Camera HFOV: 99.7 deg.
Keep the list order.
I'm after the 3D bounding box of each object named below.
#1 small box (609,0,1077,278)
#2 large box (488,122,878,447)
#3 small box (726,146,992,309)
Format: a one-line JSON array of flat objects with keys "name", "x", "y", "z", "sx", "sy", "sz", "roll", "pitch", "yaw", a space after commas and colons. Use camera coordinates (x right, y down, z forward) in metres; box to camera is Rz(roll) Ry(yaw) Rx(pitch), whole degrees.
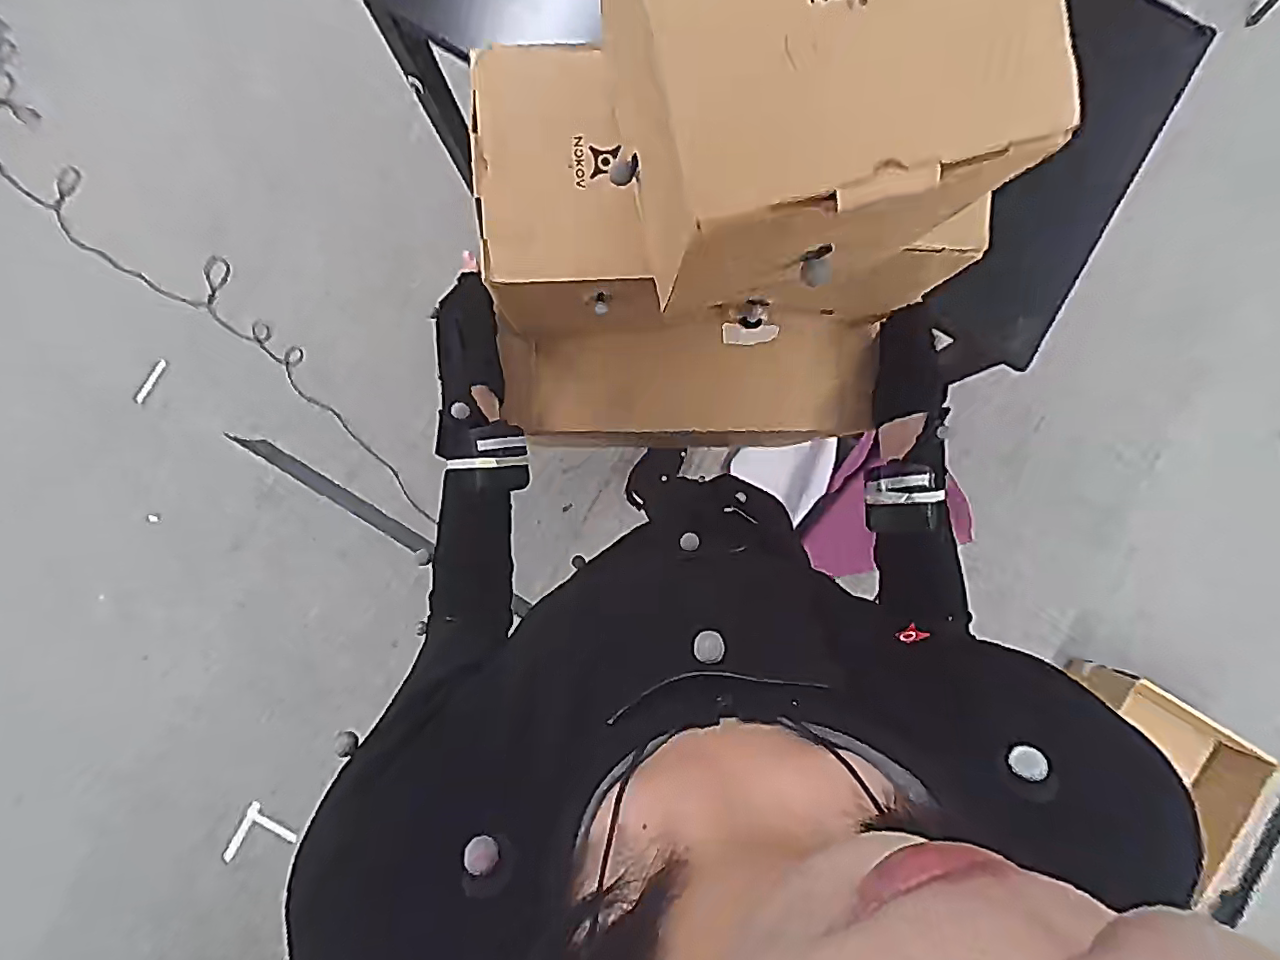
[{"name": "small box", "x": 0.080, "y": -0.227, "z": 0.296, "sx": 0.168, "sy": 0.176, "sz": 0.179, "roll": -14, "pitch": 94, "yaw": -2}, {"name": "large box", "x": 0.038, "y": -0.213, "z": 0.703, "sx": 0.408, "sy": 0.320, "sz": 0.320, "roll": -1, "pitch": 90, "yaw": -3}, {"name": "small box", "x": 0.170, "y": -0.262, "z": 0.465, "sx": 0.168, "sy": 0.176, "sz": 0.179, "roll": 5, "pitch": 87, "yaw": -2}]
